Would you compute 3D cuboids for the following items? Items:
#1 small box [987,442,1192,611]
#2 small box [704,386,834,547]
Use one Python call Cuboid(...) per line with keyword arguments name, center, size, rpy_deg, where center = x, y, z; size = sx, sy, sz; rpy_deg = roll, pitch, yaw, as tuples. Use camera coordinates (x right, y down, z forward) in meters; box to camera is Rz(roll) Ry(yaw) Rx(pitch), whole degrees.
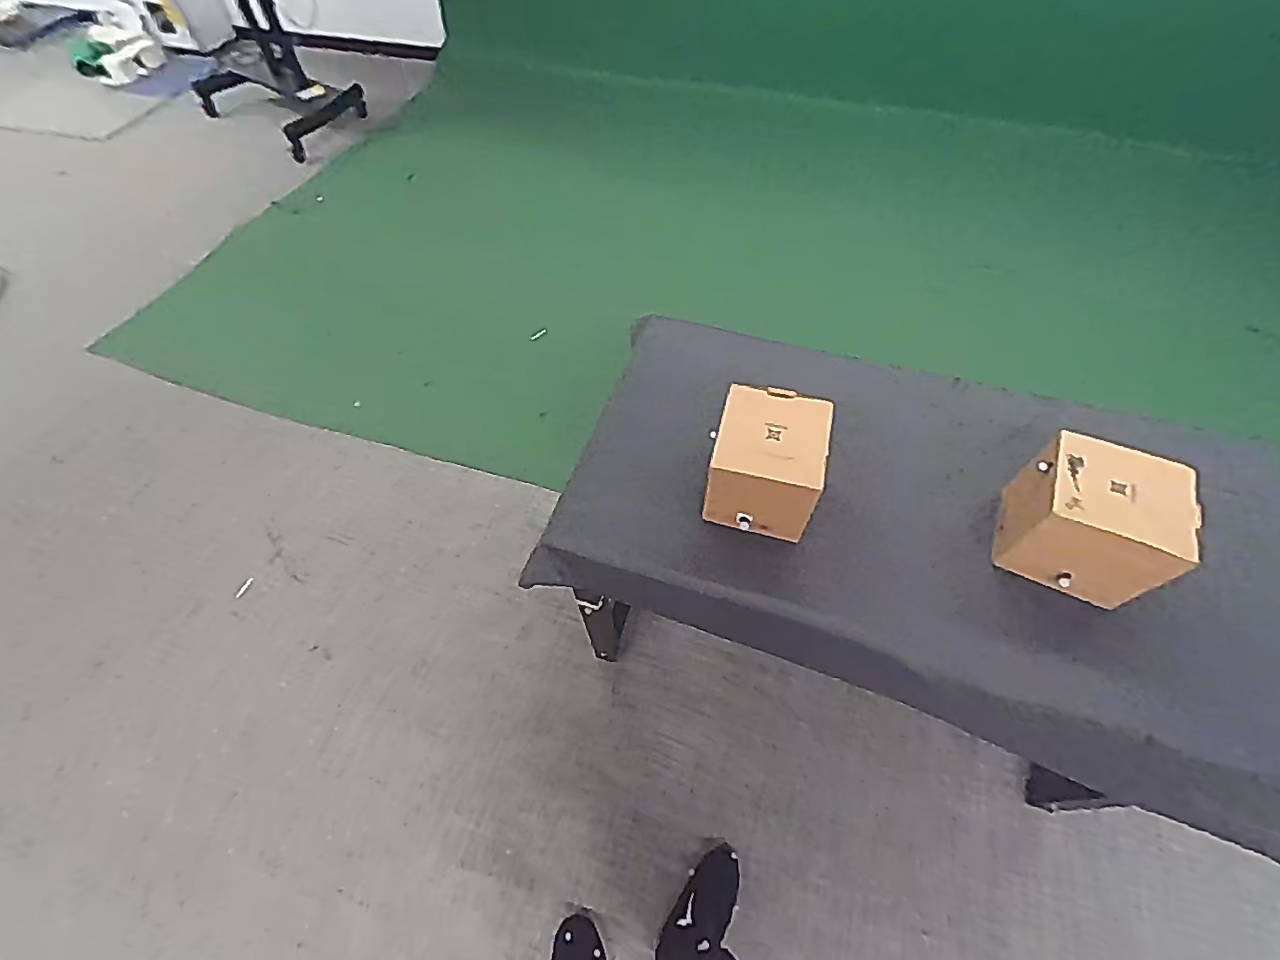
Cuboid(name="small box", center=(0.672, 0.078, 0.823), size=(0.179, 0.176, 0.168), rpy_deg=(23, 59, 15))
Cuboid(name="small box", center=(0.203, -0.020, 0.879), size=(0.168, 0.176, 0.179), rpy_deg=(13, 57, 12))
